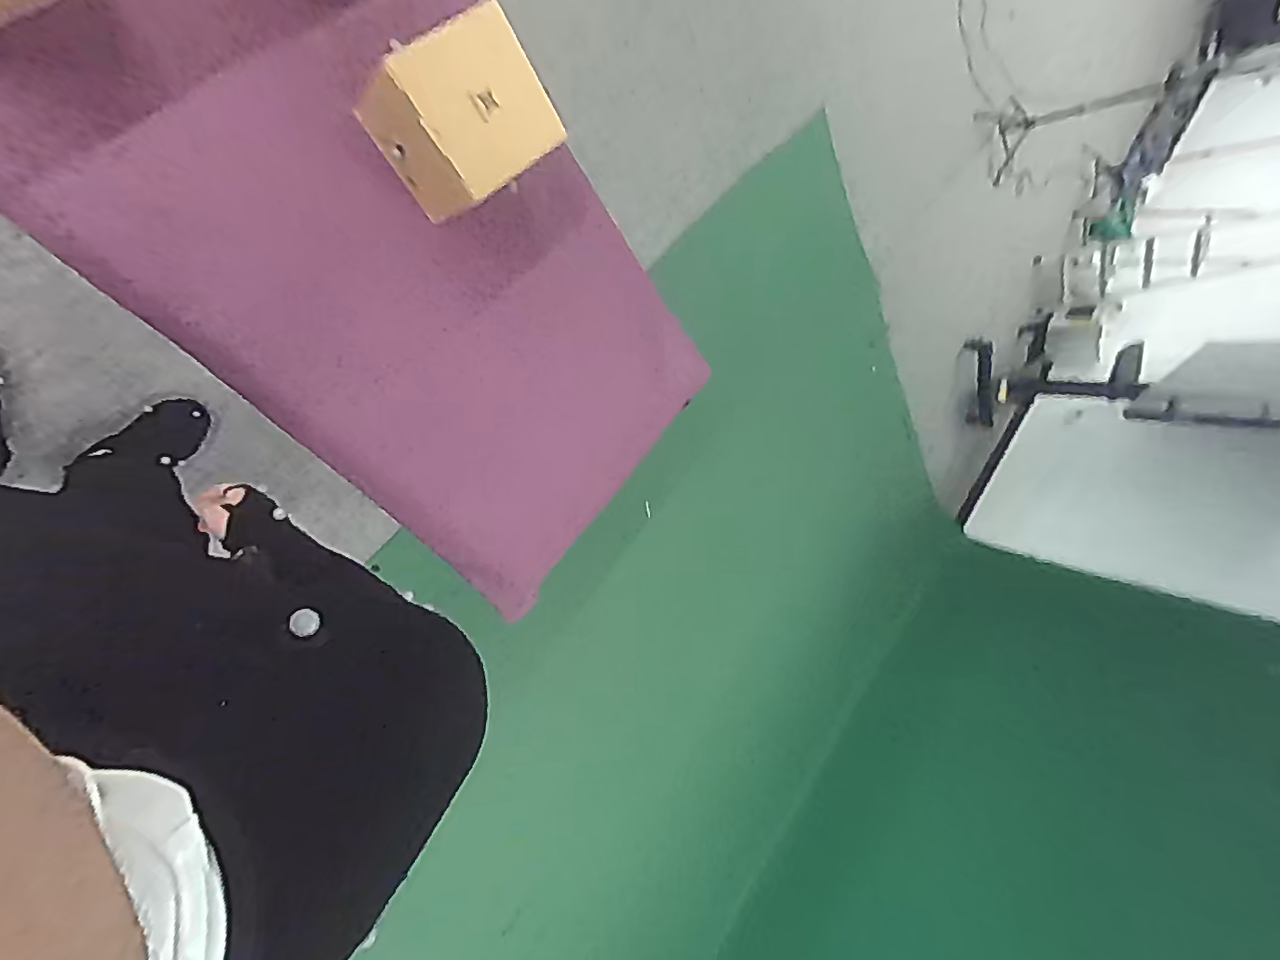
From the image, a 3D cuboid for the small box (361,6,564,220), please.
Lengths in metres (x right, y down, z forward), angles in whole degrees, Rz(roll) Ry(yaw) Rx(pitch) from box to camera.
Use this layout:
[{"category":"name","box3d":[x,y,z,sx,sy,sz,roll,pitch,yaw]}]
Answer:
[{"category":"small box","box3d":[-0.244,-0.485,0.739,0.179,0.176,0.168,-48,127,-18]}]
